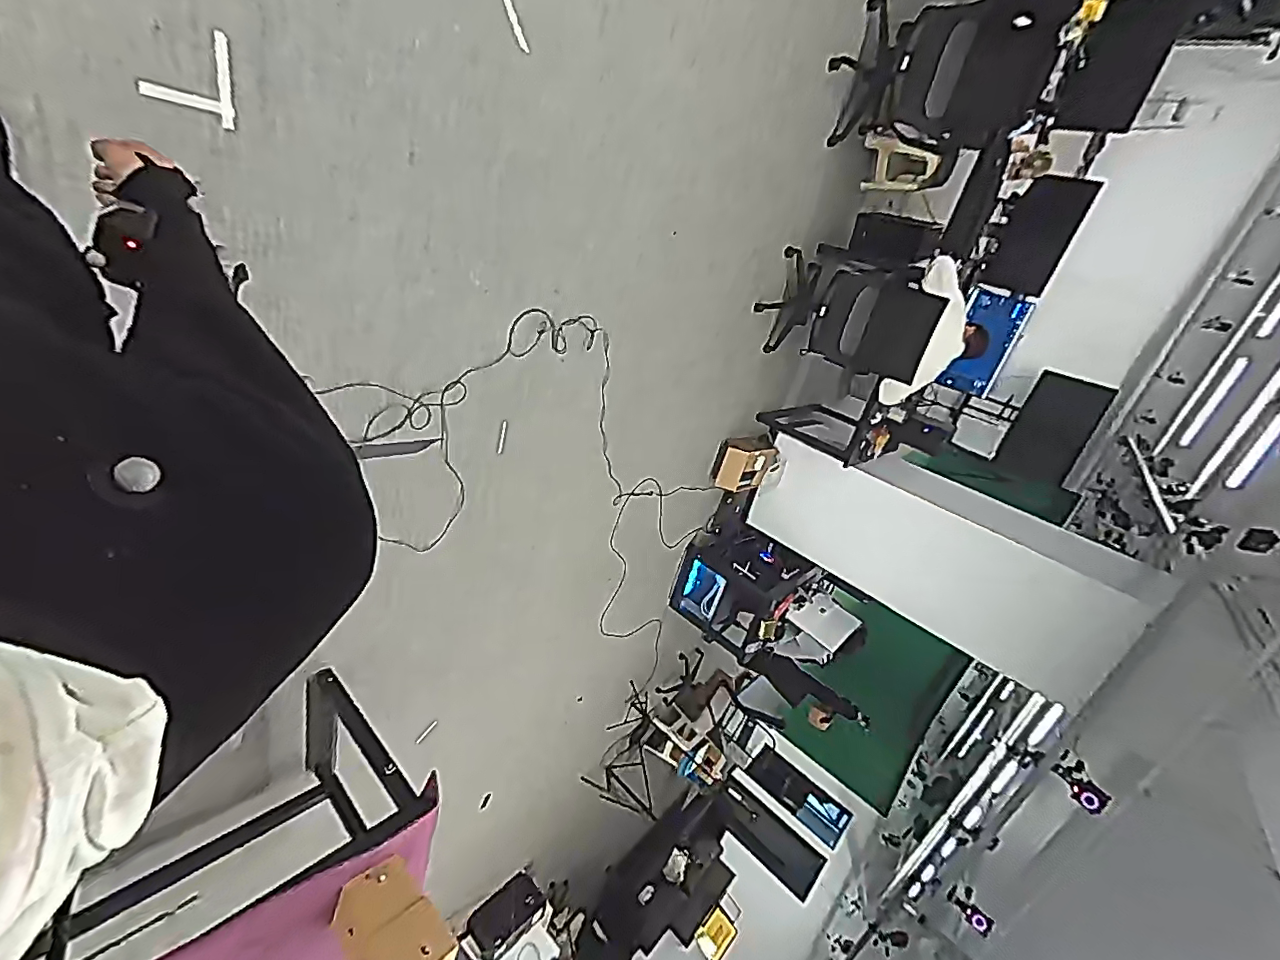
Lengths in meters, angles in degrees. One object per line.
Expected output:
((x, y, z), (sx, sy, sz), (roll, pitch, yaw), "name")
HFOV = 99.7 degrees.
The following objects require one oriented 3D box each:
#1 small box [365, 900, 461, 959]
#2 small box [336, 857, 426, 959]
((-0.627, 1.314, 1.477), (0.179, 0.176, 0.168), (-4, 118, -53), "small box")
((-0.753, 1.252, 1.563), (0.168, 0.176, 0.179), (-1, 116, -54), "small box")
